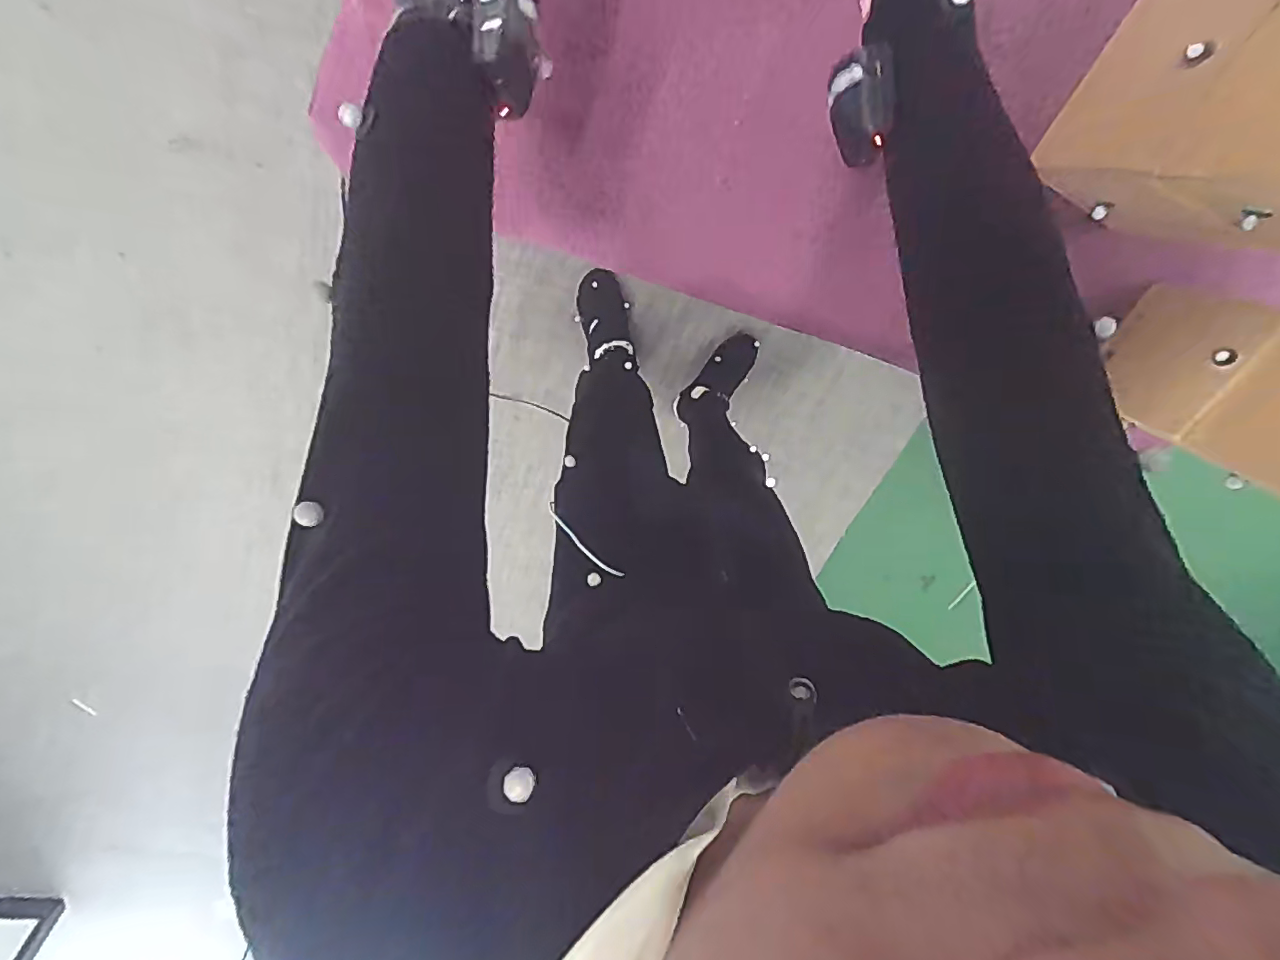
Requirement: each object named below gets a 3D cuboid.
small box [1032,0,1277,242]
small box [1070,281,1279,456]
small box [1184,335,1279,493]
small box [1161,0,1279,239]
[{"bbox_3d":[0.554,-0.368,0.536,0.168,0.176,0.179,18,118,-18],"label":"small box"},{"bbox_3d":[0.735,-0.140,0.706,0.179,0.176,0.168,18,117,-18],"label":"small box"},{"bbox_3d":[0.757,-0.057,0.567,0.168,0.176,0.179,19,117,-17],"label":"small box"},{"bbox_3d":[0.568,-0.284,0.398,0.168,0.176,0.179,15,120,-17],"label":"small box"}]
